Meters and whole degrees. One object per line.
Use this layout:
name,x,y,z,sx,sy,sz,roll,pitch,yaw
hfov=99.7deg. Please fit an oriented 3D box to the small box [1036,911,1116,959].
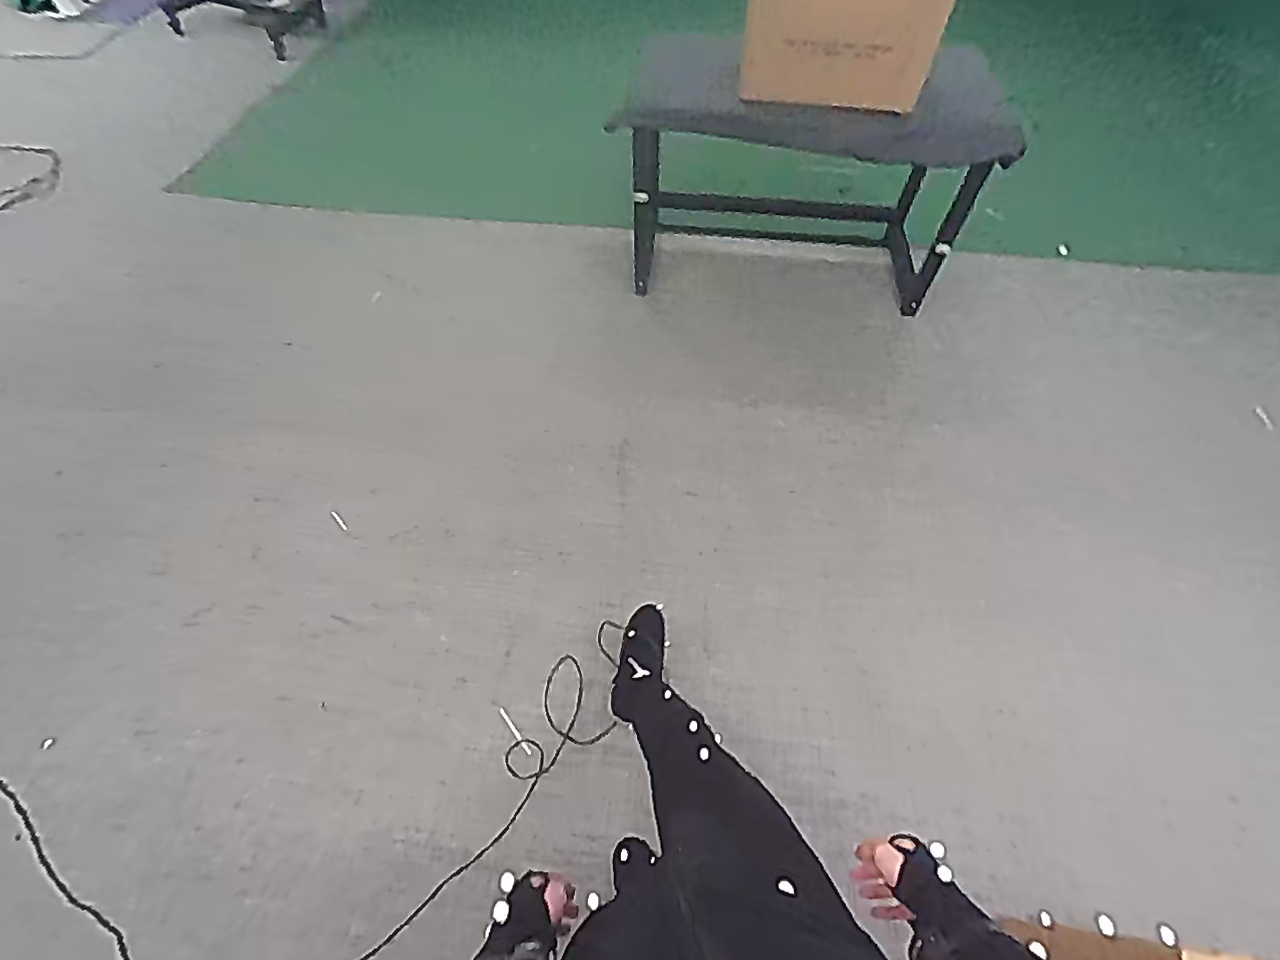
small box,0.857,0.899,0.962,0.168,0.176,0.179,6,58,3

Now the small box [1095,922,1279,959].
small box,0.855,0.809,0.829,0.168,0.176,0.179,6,59,4

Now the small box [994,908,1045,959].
small box,0.855,0.993,1.099,0.179,0.176,0.168,7,59,4
